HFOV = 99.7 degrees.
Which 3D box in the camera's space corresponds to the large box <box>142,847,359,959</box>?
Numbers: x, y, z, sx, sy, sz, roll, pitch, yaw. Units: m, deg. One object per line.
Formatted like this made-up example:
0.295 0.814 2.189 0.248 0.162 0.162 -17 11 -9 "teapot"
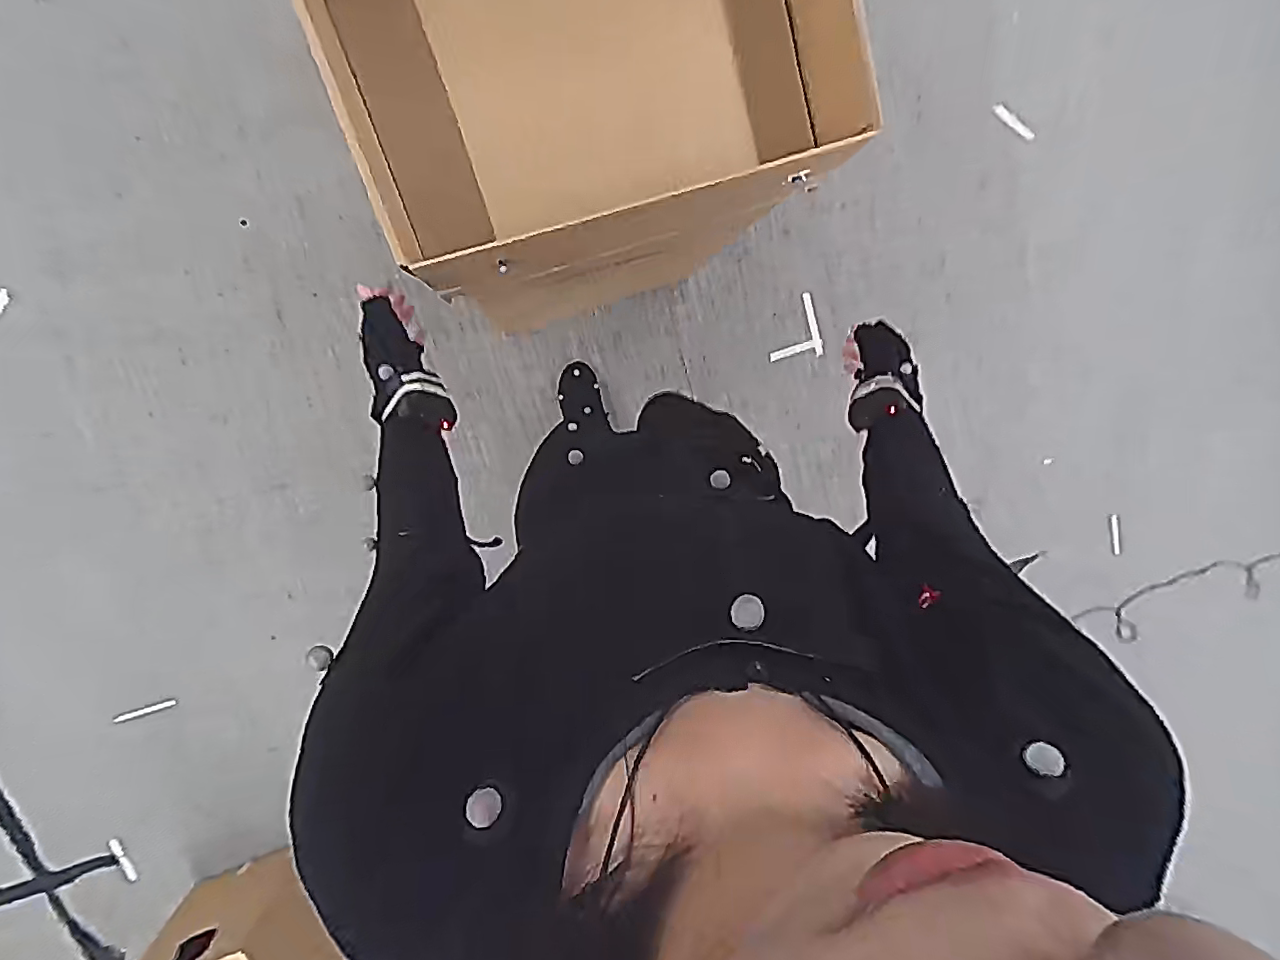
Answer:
-1.018 1.292 1.415 0.320 0.320 0.408 -22 101 -6 "large box"
